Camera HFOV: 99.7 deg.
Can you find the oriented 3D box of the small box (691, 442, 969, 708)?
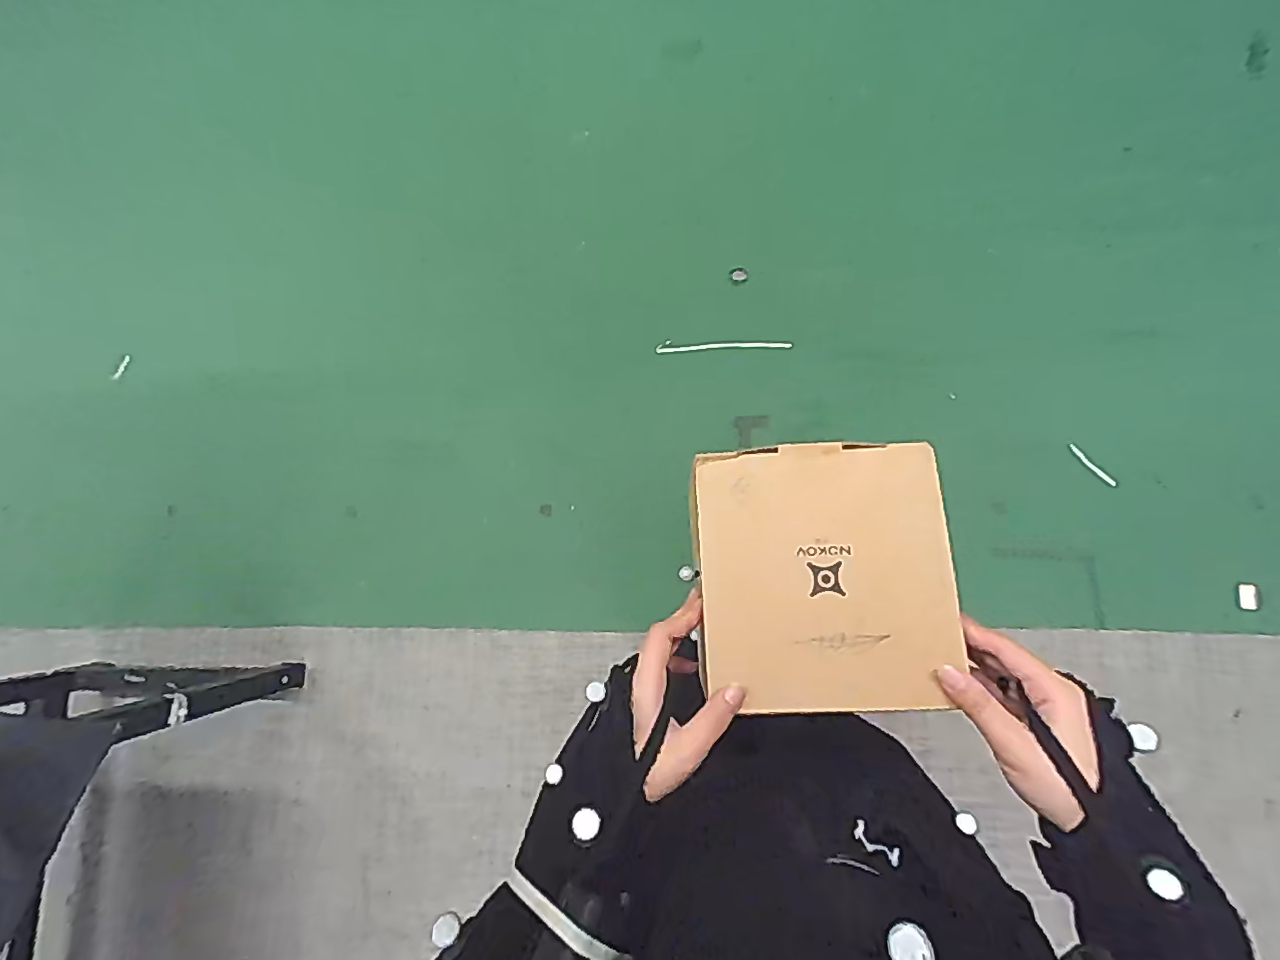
[{"bbox_3d":[0.128,0.077,0.438,0.168,0.176,0.179,-2,78,4],"label":"small box"}]
